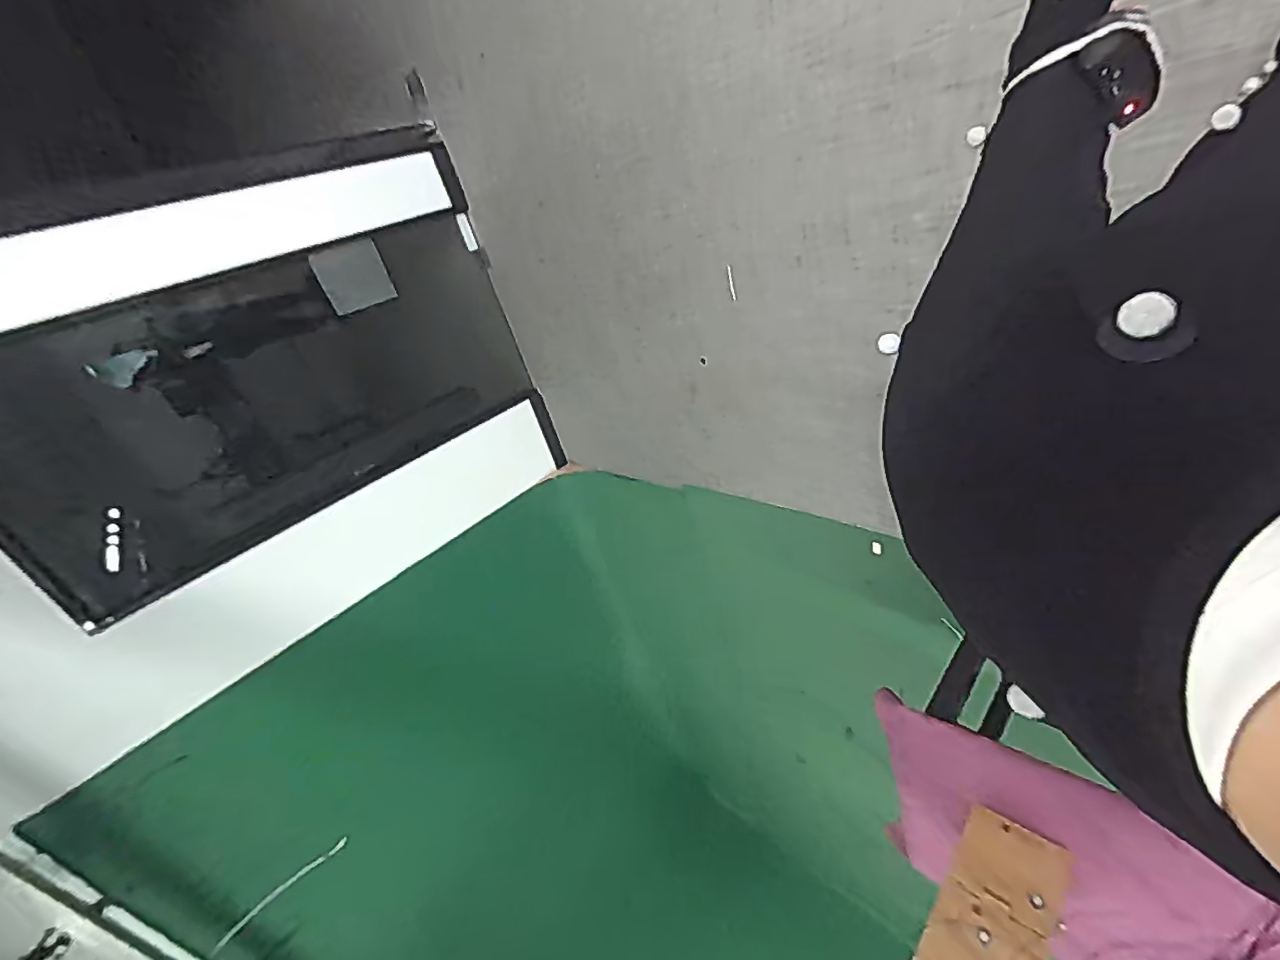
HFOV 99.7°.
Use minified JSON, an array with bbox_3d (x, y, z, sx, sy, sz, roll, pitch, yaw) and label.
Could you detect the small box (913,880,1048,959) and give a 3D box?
[{"bbox_3d":[0.617,0.886,0.977,0.168,0.176,0.179,11,130,46],"label":"small box"}]
